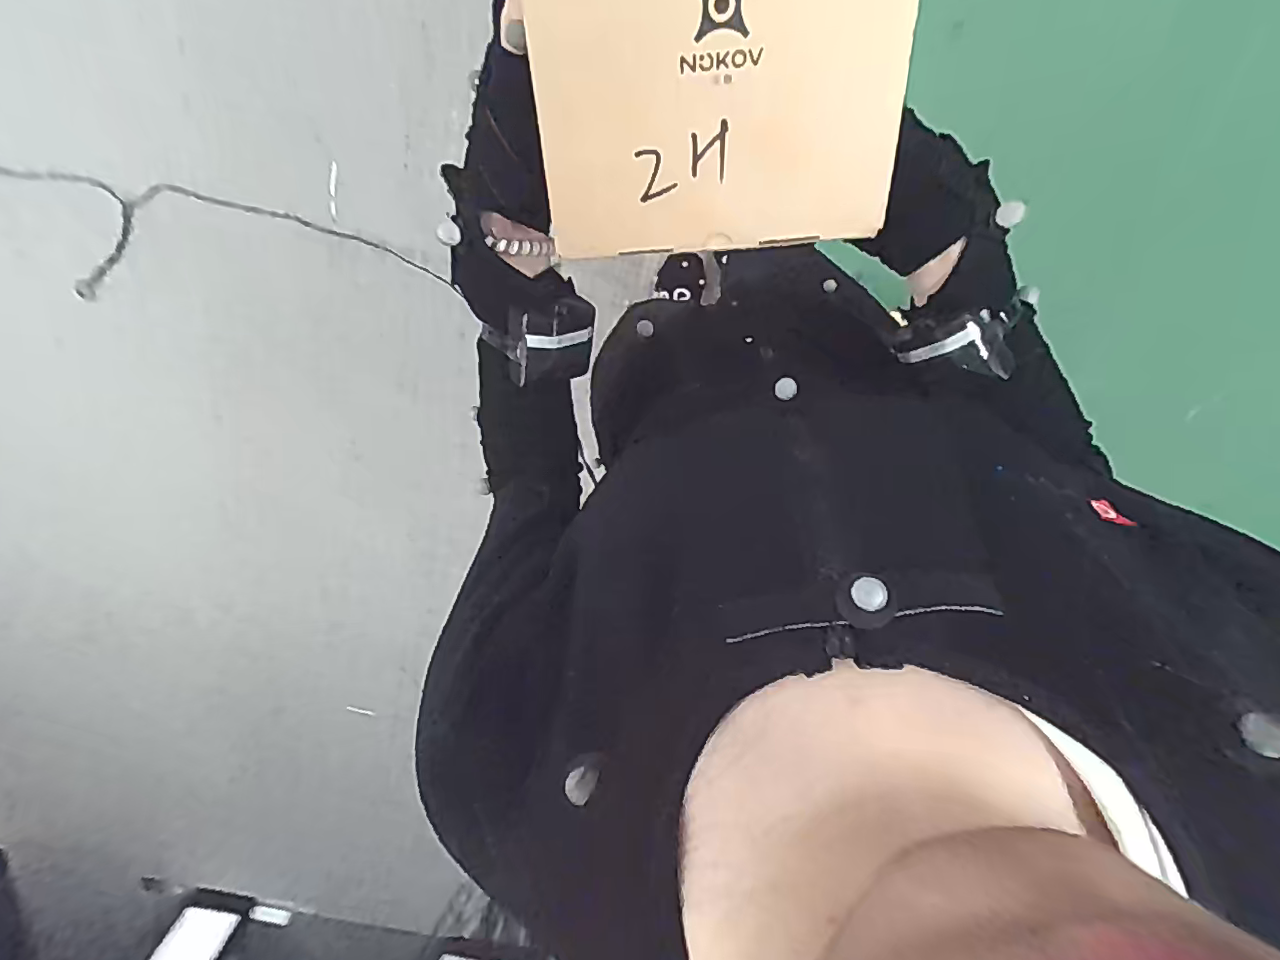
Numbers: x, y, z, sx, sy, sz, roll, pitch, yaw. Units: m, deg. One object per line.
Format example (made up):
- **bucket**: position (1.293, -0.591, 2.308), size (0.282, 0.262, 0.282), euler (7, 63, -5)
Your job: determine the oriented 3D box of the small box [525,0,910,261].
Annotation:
- **small box**: position (0.033, -0.233, 0.302), size (0.168, 0.176, 0.179), euler (-4, 122, 3)
